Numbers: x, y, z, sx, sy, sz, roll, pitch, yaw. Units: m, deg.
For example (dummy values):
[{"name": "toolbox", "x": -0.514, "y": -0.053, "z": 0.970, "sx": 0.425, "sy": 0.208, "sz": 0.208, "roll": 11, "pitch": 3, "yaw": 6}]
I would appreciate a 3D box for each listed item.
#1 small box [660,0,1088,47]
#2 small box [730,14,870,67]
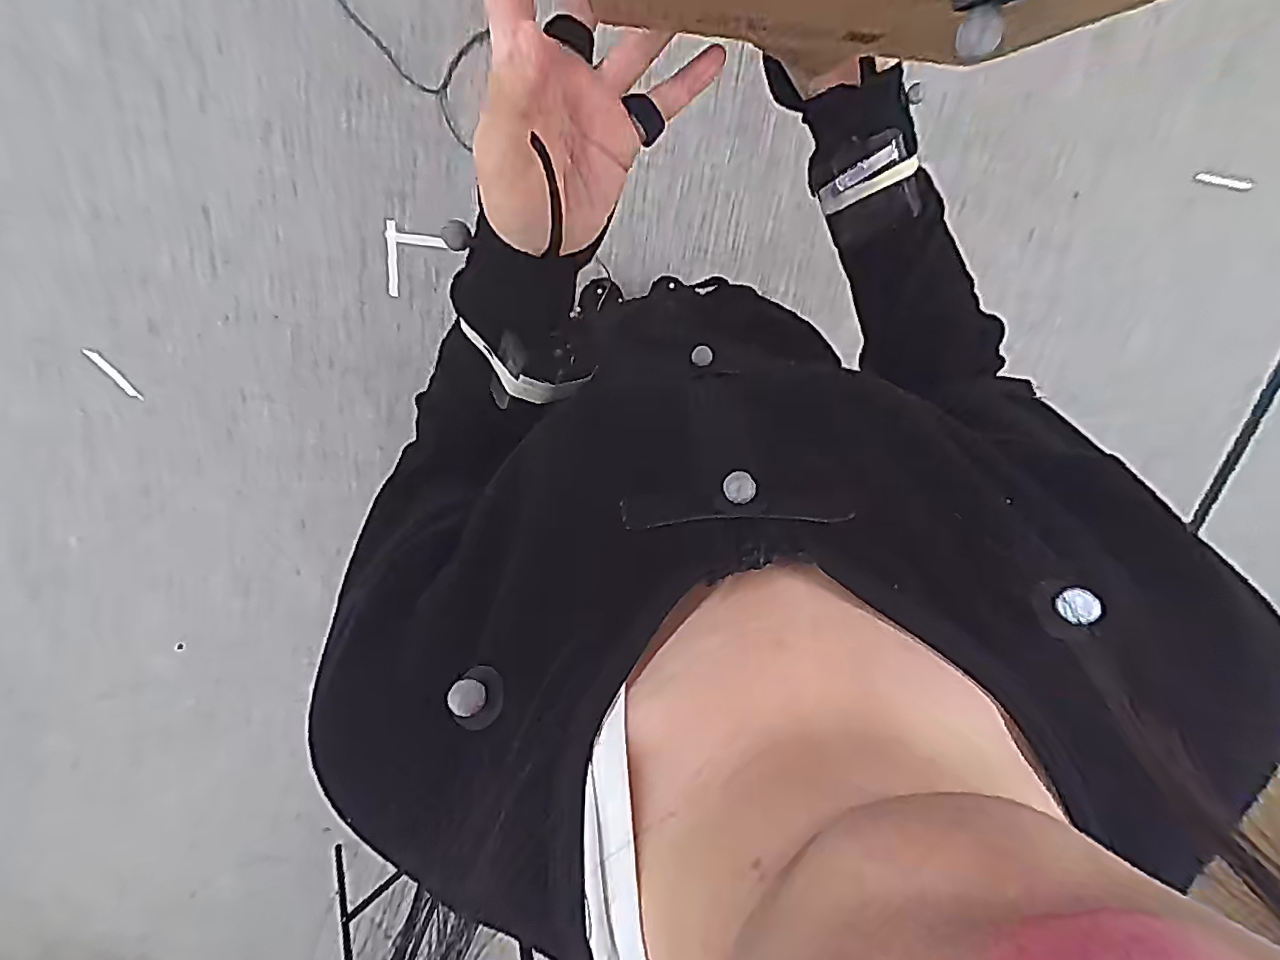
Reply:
[{"name": "small box", "x": 0.075, "y": -0.222, "z": 0.115, "sx": 0.168, "sy": 0.176, "sz": 0.179, "roll": 4, "pitch": 118, "yaw": -4}, {"name": "small box", "x": 0.084, "y": -0.328, "z": 0.241, "sx": 0.168, "sy": 0.176, "sz": 0.179, "roll": 22, "pitch": 116, "yaw": -12}]
